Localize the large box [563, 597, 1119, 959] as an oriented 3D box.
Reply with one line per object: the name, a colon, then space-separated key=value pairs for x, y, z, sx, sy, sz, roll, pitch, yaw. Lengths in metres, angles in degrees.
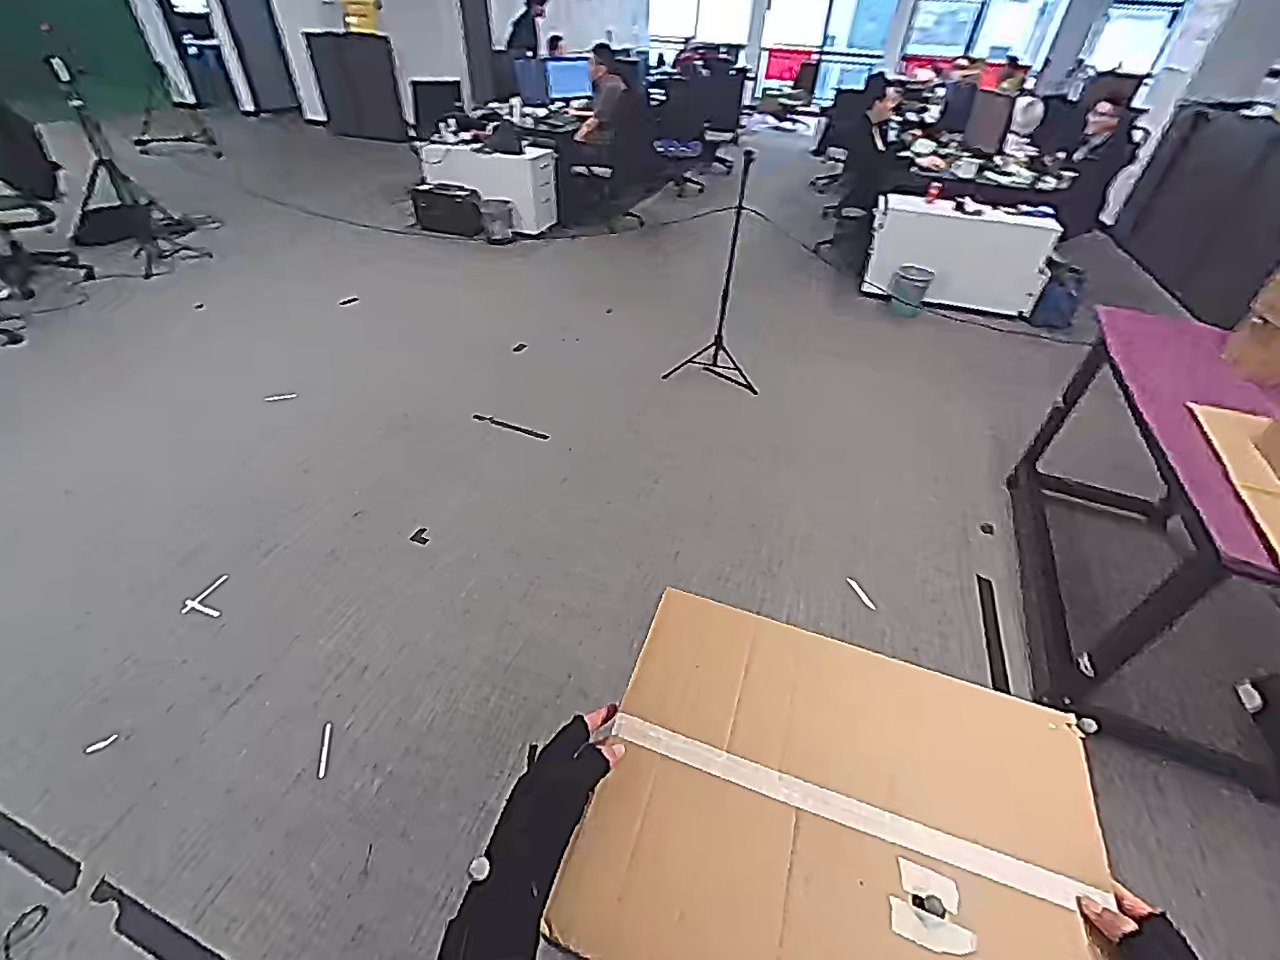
large box: x=0.169 y=0.383 z=0.567 sx=0.408 sy=0.320 sz=0.320 roll=16 pitch=48 yaw=12
